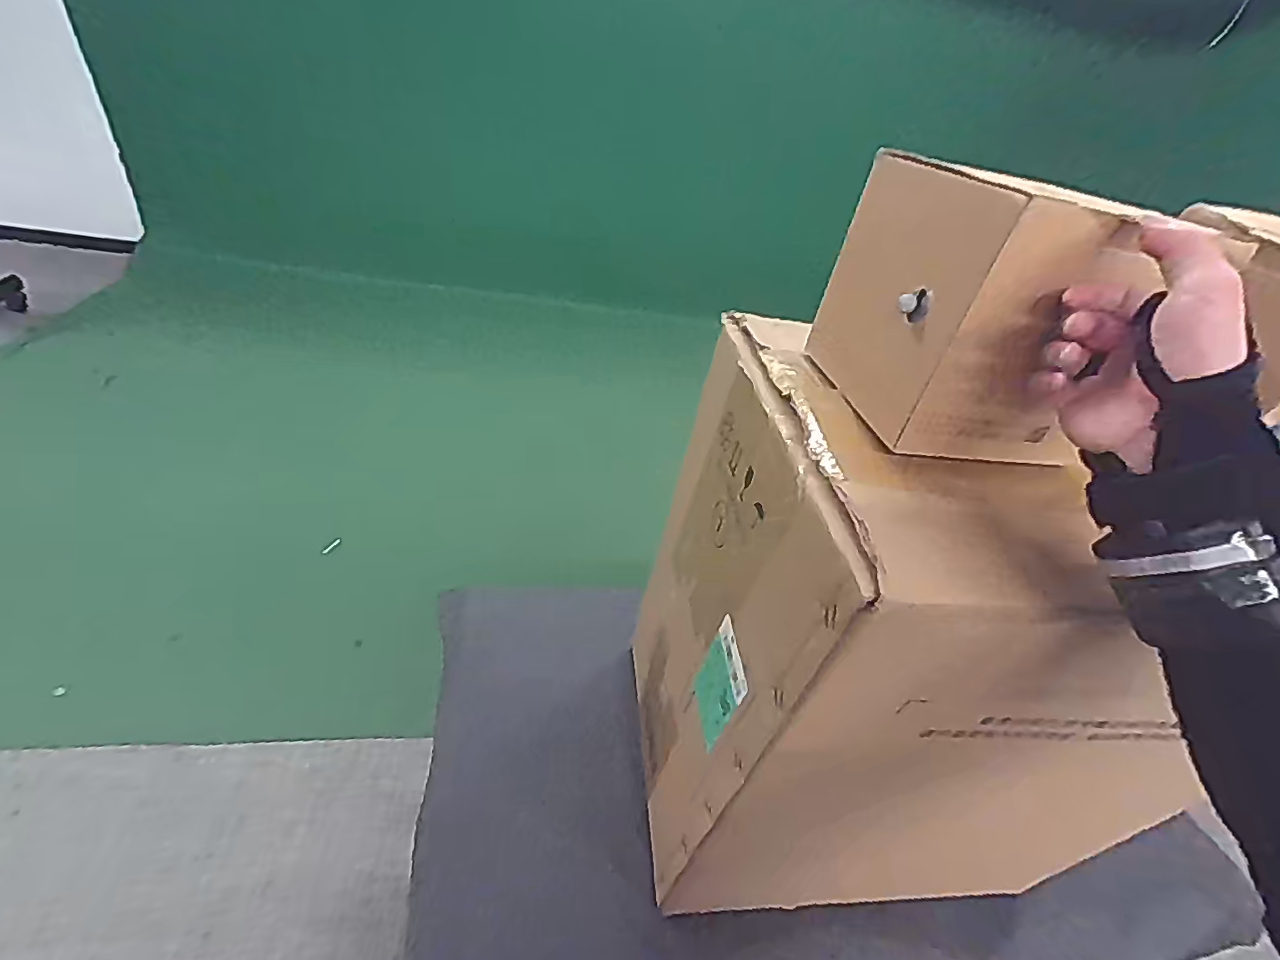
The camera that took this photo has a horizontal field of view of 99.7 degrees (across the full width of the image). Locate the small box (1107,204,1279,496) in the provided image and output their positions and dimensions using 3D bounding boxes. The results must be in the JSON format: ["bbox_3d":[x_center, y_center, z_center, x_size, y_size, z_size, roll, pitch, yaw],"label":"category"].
[{"bbox_3d":[0.513,-0.099,0.439,0.179,0.176,0.168,5,44,-8],"label":"small box"}]

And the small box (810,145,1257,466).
[{"bbox_3d":[0.259,-0.129,0.413,0.168,0.176,0.179,5,40,-13],"label":"small box"}]
